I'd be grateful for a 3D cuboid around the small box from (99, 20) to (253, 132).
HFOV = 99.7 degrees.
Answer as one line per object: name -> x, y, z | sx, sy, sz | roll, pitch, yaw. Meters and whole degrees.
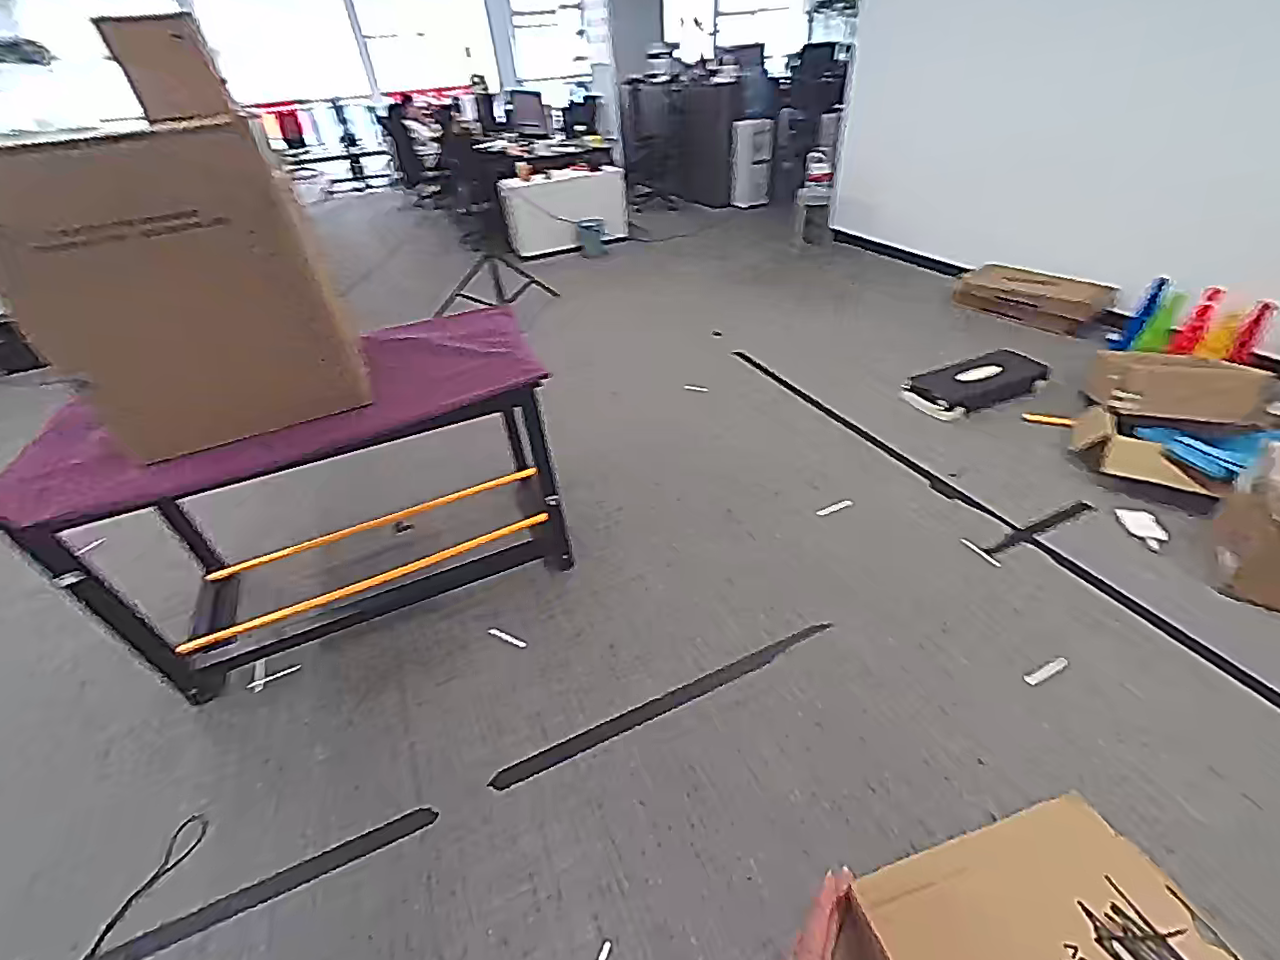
small box -> -0.962, -0.846, 1.141 | 0.179, 0.176, 0.168 | -20, 40, -18
